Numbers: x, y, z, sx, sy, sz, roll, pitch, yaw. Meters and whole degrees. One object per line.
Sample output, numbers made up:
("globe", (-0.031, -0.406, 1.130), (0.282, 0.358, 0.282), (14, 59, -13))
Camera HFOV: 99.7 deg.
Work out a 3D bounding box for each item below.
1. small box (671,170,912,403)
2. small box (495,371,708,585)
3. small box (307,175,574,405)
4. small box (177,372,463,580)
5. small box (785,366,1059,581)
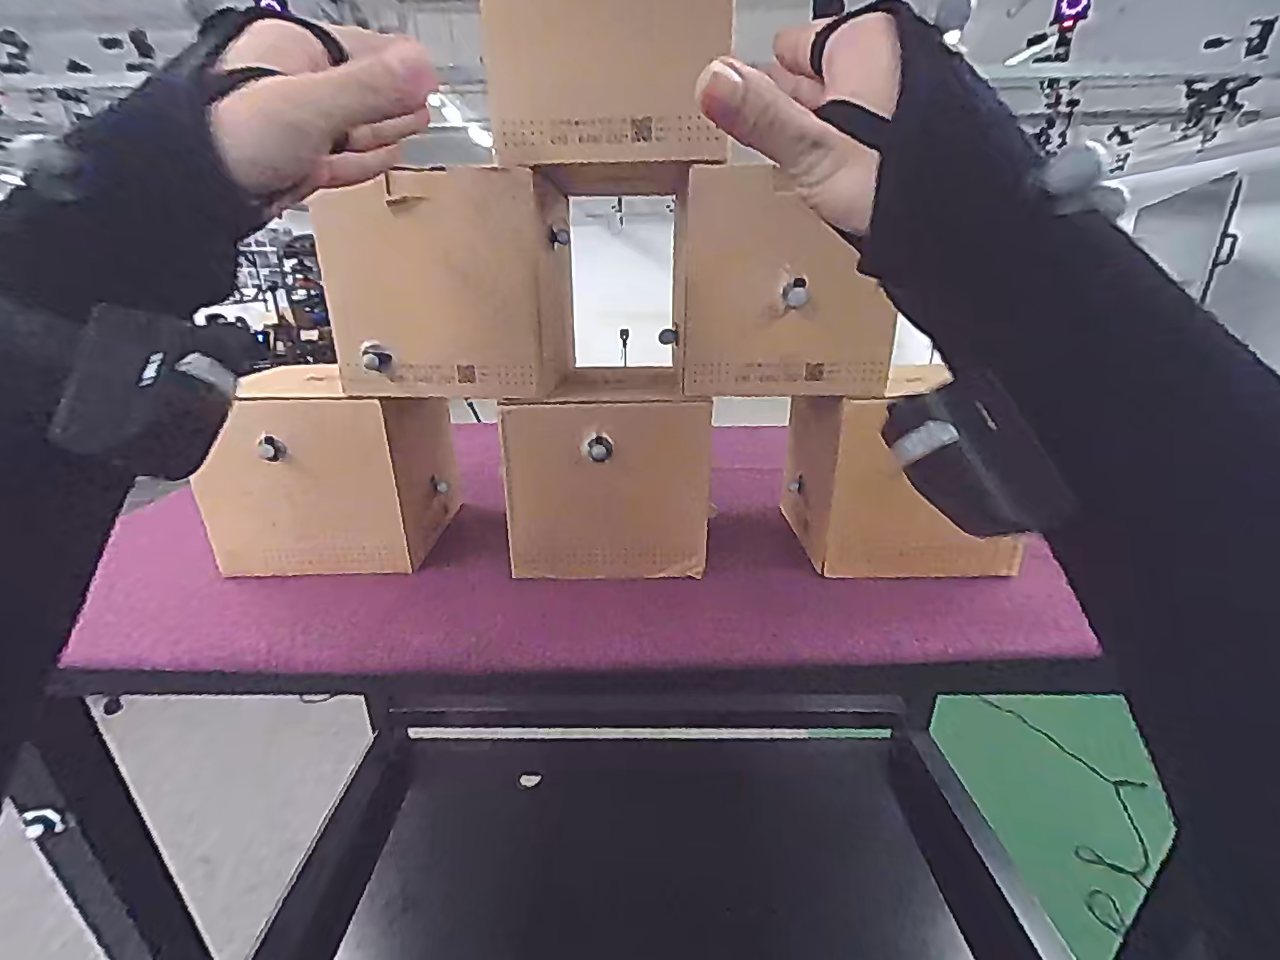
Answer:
("small box", (0.114, -0.167, 0.485), (0.168, 0.176, 0.179), (-1, 21, 0))
("small box", (-0.027, -0.008, 0.533), (0.179, 0.176, 0.168), (0, 21, 1))
("small box", (-0.154, -0.166, 0.490), (0.168, 0.176, 0.179), (1, 20, 2))
("small box", (-0.296, -0.010, 0.546), (0.179, 0.176, 0.168), (-1, 22, -1))
("small box", (0.251, -0.013, 0.532), (0.179, 0.176, 0.168), (-2, 20, 1))
